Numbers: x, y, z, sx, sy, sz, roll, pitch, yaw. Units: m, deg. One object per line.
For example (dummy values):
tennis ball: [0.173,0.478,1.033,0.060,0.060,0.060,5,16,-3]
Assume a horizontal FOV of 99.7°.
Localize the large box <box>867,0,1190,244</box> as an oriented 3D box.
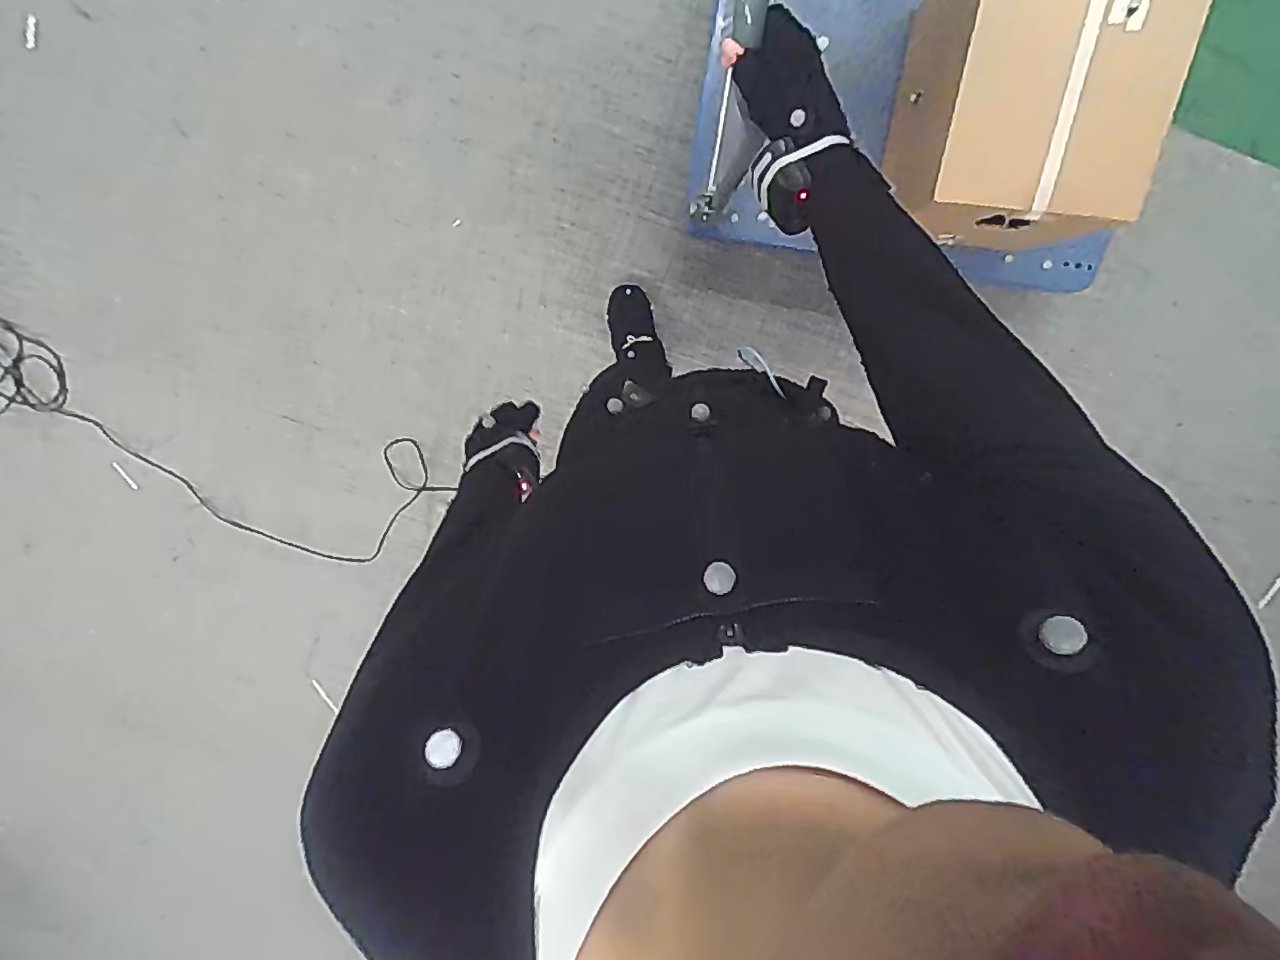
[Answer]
large box: [0.629,-0.657,0.934,0.320,0.320,0.408,7,105,1]
